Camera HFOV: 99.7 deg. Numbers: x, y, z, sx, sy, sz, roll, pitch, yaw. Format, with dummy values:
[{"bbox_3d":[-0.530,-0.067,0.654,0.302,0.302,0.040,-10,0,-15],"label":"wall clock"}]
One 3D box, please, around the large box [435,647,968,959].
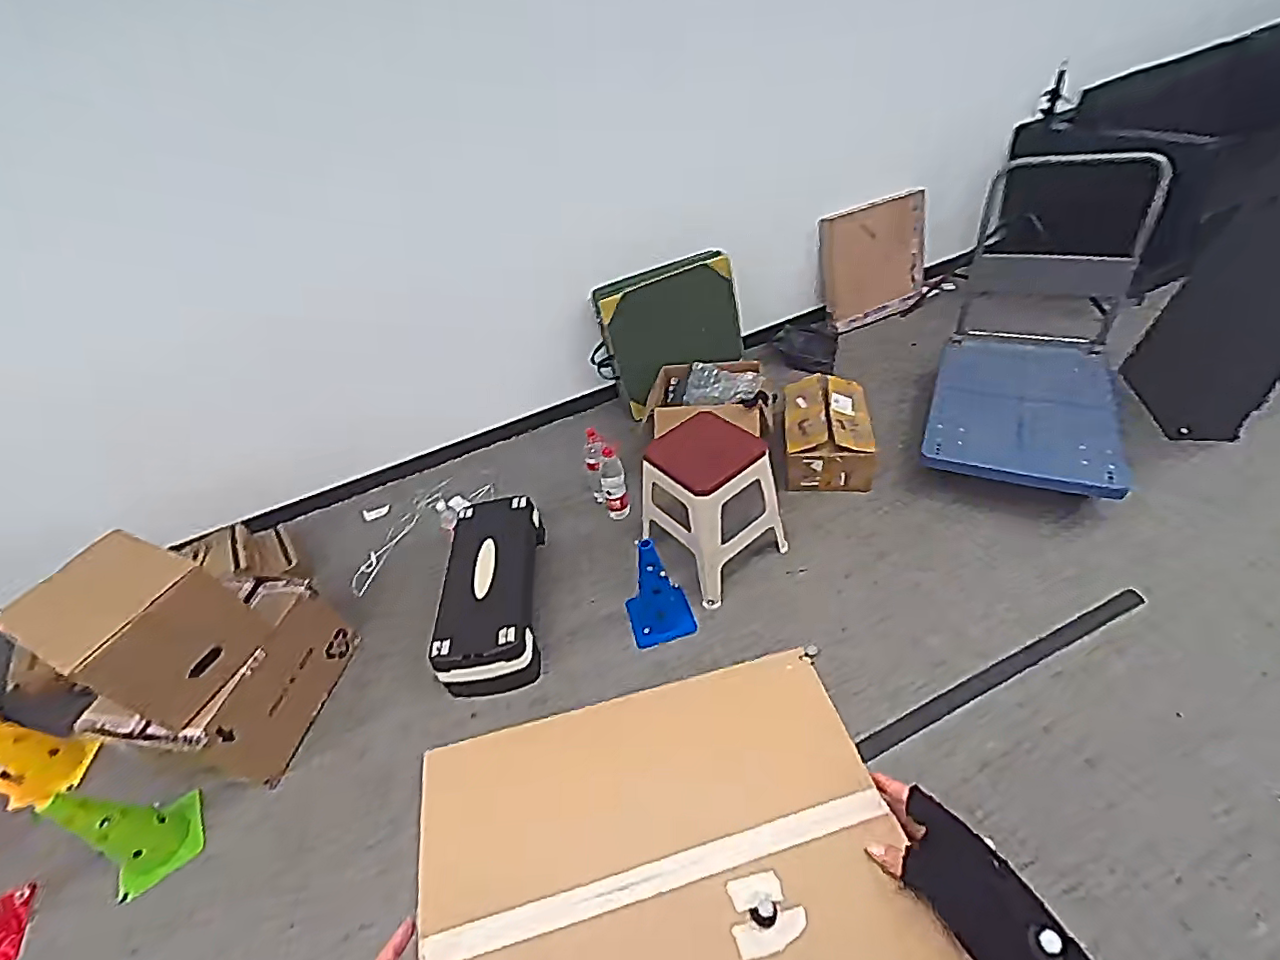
[{"bbox_3d":[0.032,0.434,0.565,0.408,0.320,0.320,-12,46,-9],"label":"large box"}]
